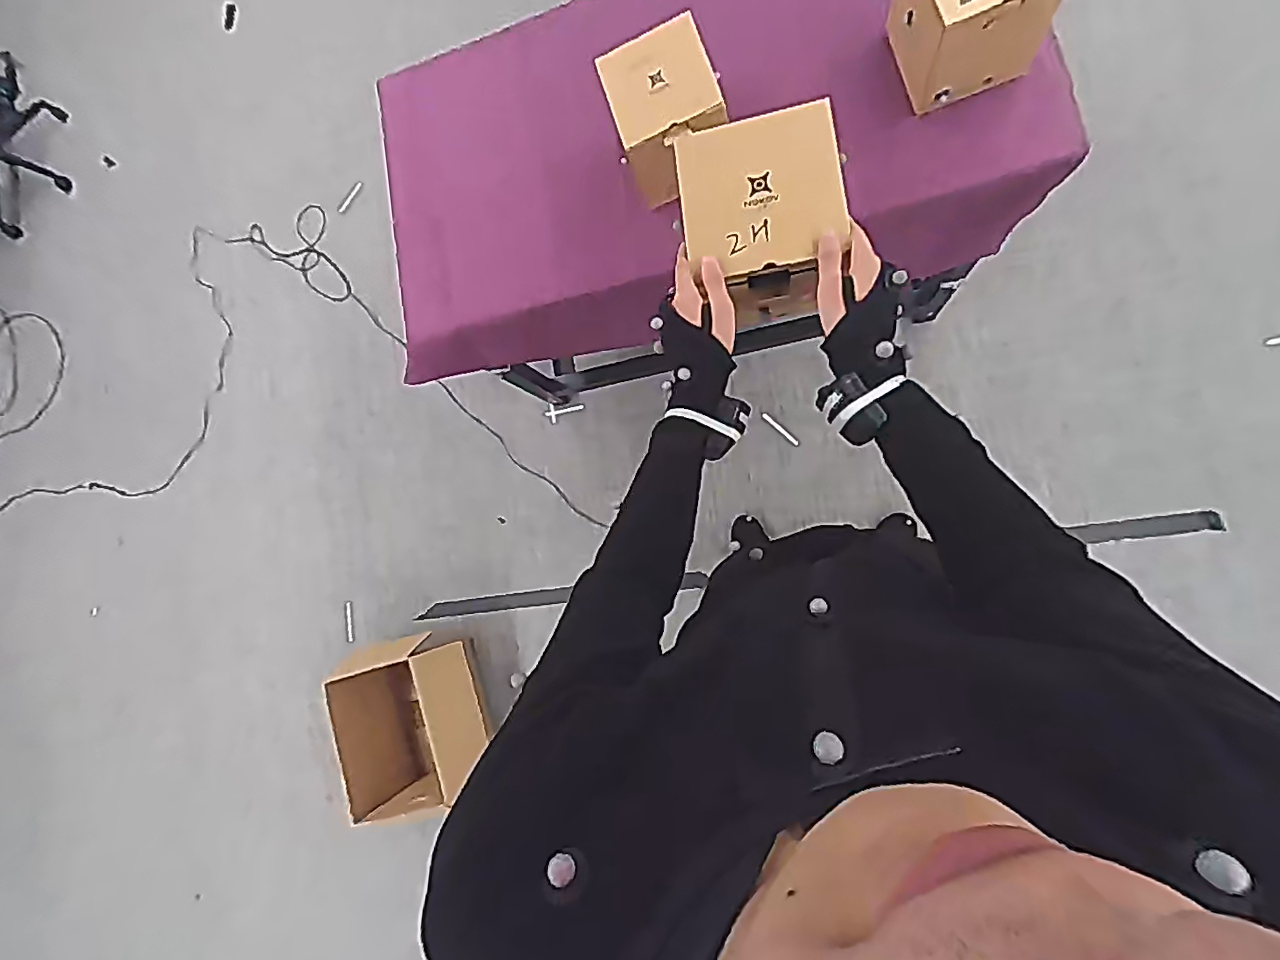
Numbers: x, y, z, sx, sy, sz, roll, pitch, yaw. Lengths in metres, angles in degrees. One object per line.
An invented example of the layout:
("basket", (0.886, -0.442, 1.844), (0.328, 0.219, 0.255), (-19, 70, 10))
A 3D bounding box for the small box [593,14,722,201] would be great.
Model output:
("small box", (0.042, -0.609, 0.917), (0.168, 0.176, 0.179), (-19, 80, 11))

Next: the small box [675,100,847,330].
("small box", (0.140, -0.298, 0.649), (0.168, 0.176, 0.179), (-7, 89, 12))

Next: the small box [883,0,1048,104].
("small box", (0.485, -0.713, 0.812), (0.168, 0.176, 0.179), (-16, 81, 13))
